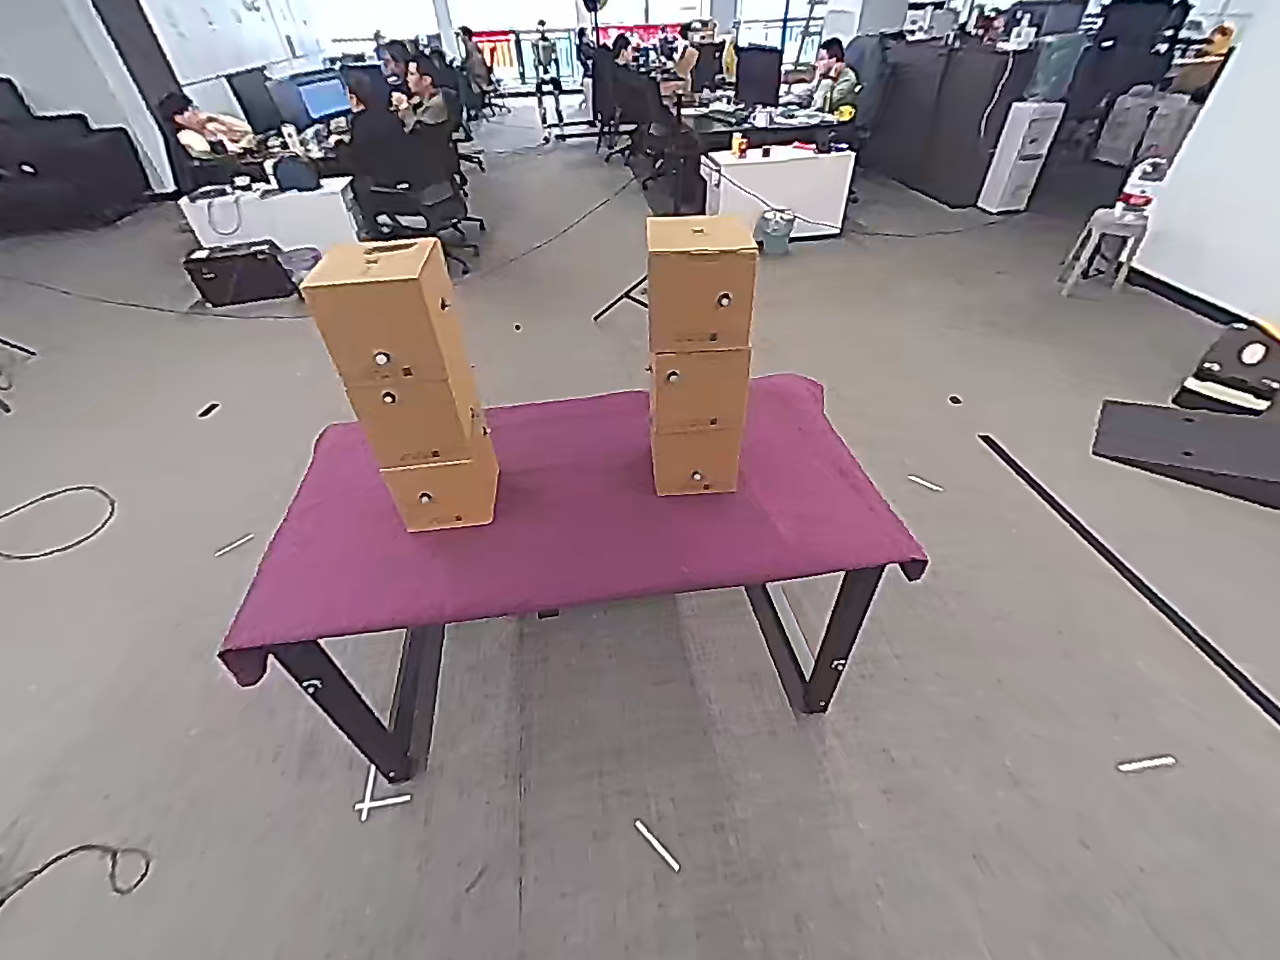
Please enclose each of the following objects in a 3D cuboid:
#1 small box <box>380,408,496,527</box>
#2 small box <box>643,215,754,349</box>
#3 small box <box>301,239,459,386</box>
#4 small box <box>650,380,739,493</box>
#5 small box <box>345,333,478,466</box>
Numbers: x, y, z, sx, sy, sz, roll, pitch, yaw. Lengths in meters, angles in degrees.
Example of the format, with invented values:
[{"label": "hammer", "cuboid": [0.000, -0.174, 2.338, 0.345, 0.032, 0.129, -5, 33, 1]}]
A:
[{"label": "small box", "cuboid": [-0.390, -0.021, 1.081, 0.168, 0.176, 0.179, -6, 41, -4]}, {"label": "small box", "cuboid": [0.091, -0.332, 0.913, 0.168, 0.176, 0.179, -1, 40, 0]}, {"label": "small box", "cuboid": [-0.398, -0.270, 0.867, 0.168, 0.176, 0.179, -6, 42, -4]}, {"label": "small box", "cuboid": [0.105, -0.092, 1.135, 0.168, 0.176, 0.179, -4, 42, 0]}, {"label": "small box", "cuboid": [-0.397, -0.147, 0.977, 0.168, 0.176, 0.179, -7, 41, -5]}]
